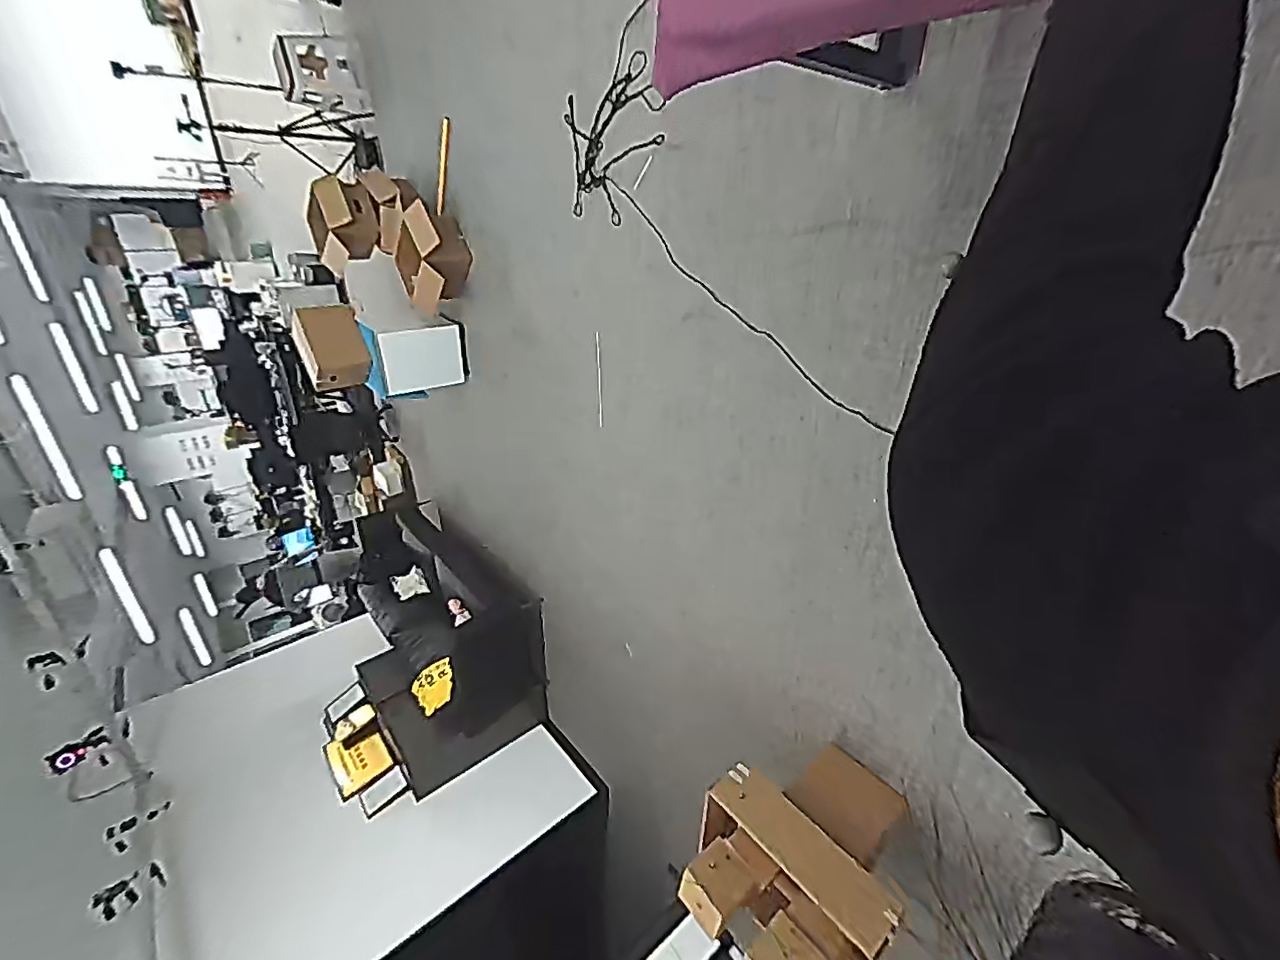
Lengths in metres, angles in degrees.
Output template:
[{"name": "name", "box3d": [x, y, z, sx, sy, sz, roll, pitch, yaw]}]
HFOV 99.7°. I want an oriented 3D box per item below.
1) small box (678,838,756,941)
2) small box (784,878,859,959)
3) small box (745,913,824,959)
[{"name": "small box", "box3d": [0.249, 1.307, 1.738, 0.168, 0.176, 0.179, 35, 131, 40]}, {"name": "small box", "box3d": [0.549, 1.391, 1.659, 0.168, 0.176, 0.179, 25, 124, 44]}, {"name": "small box", "box3d": [0.418, 1.419, 1.563, 0.168, 0.176, 0.179, 26, 125, 45]}]
